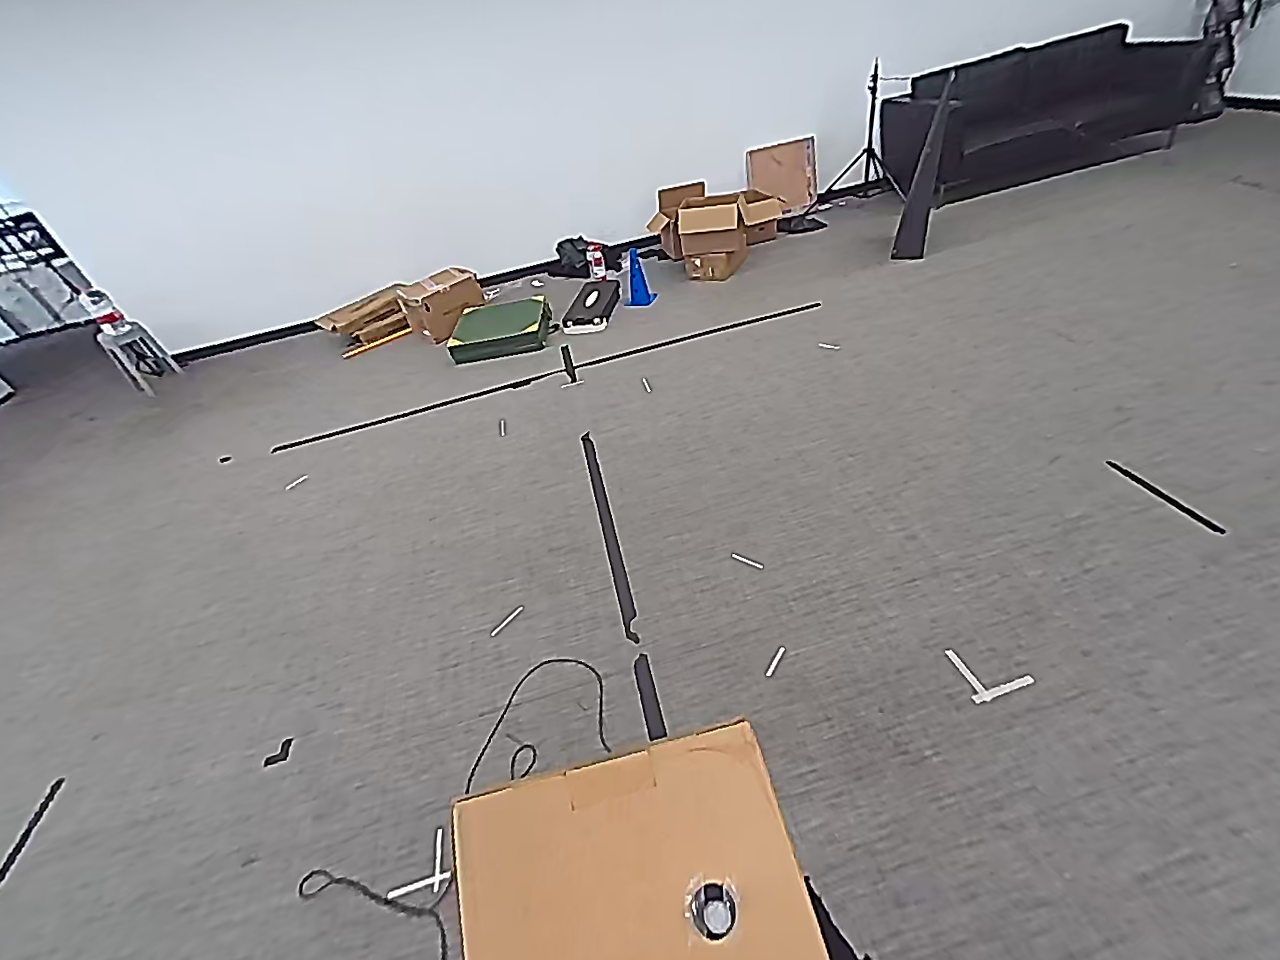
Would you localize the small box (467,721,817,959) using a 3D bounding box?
[{"bbox_3d":[0.003,0.267,0.345,0.168,0.179,0.176,-12,65,-7],"label":"small box"}]
